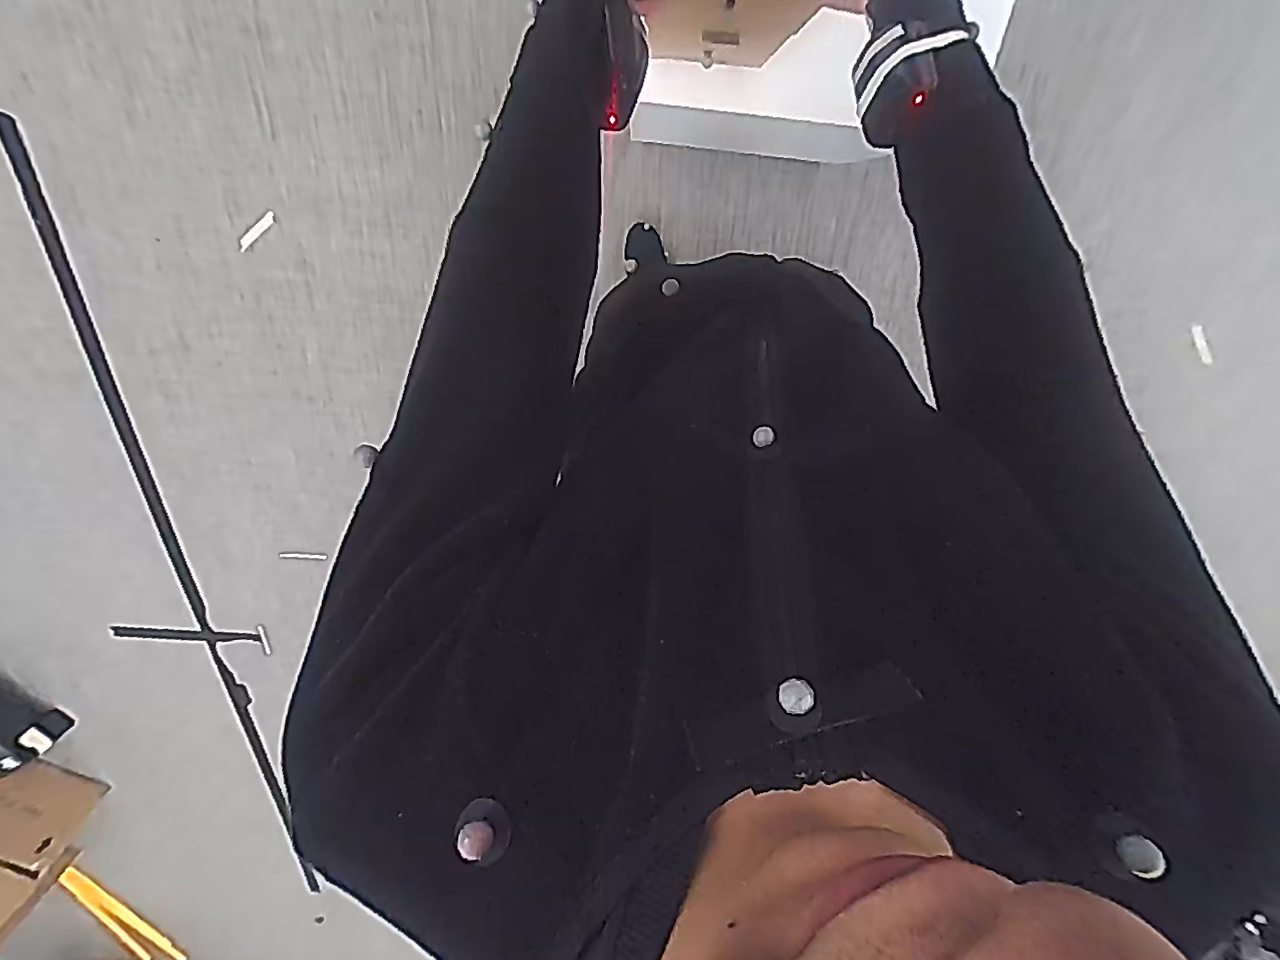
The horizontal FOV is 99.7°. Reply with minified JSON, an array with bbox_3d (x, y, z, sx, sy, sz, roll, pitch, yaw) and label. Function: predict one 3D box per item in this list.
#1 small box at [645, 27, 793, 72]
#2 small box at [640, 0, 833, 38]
[{"bbox_3d":[0.094,-0.612,0.635,0.168,0.176,0.179,3,117,-2],"label":"small box"},{"bbox_3d":[0.091,-0.529,0.492,0.179,0.176,0.168,2,117,-1],"label":"small box"}]
